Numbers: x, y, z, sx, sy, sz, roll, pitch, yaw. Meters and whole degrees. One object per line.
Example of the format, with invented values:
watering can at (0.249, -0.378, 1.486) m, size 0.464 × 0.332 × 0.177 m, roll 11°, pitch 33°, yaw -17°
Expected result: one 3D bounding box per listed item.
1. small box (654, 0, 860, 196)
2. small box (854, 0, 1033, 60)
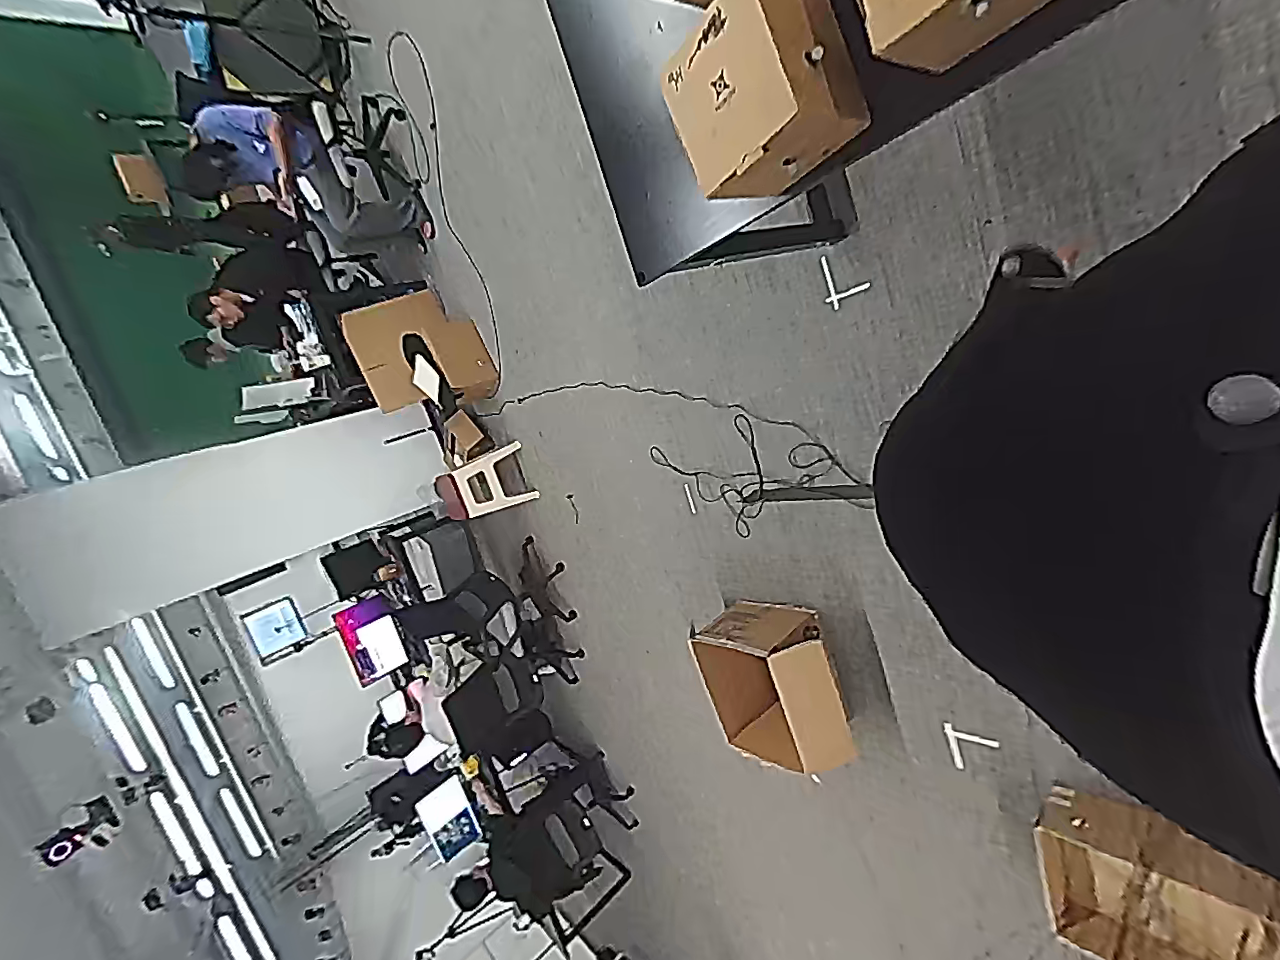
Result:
small box at (0.155, -0.503, 0.704) m, size 0.168 × 0.176 × 0.179 m, roll -17°, pitch 97°, yaw 54°
small box at (0.307, -0.532, 0.498) m, size 0.179 × 0.176 × 0.168 m, roll -9°, pitch 104°, yaw 52°
